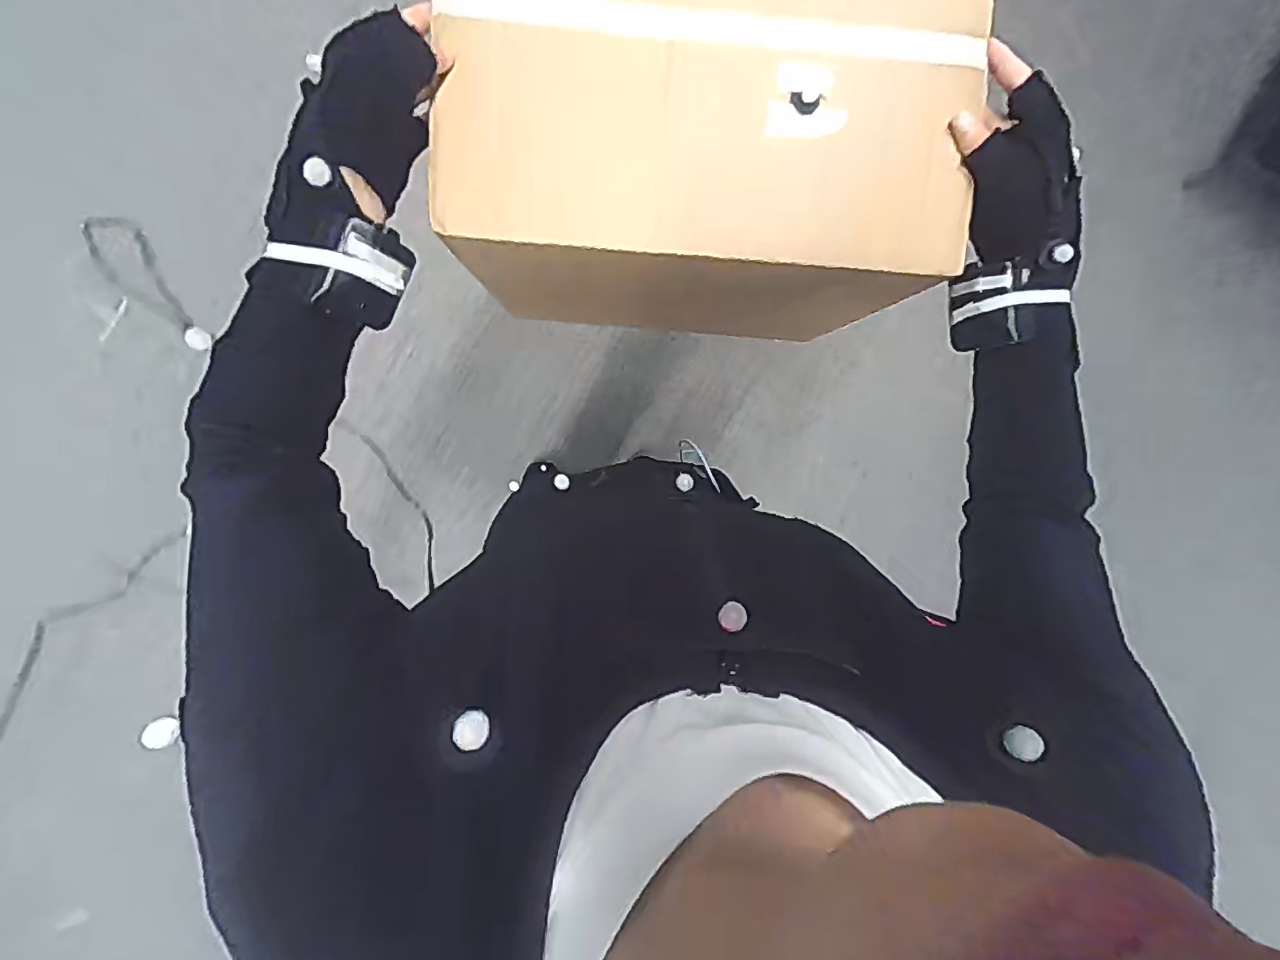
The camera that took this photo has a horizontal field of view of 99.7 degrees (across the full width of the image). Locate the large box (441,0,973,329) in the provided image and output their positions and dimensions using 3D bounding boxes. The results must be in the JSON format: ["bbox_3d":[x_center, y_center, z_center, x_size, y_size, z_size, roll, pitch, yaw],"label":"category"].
[{"bbox_3d":[0.043,-0.344,0.552,0.408,0.320,0.320,2,96,-3],"label":"large box"}]
